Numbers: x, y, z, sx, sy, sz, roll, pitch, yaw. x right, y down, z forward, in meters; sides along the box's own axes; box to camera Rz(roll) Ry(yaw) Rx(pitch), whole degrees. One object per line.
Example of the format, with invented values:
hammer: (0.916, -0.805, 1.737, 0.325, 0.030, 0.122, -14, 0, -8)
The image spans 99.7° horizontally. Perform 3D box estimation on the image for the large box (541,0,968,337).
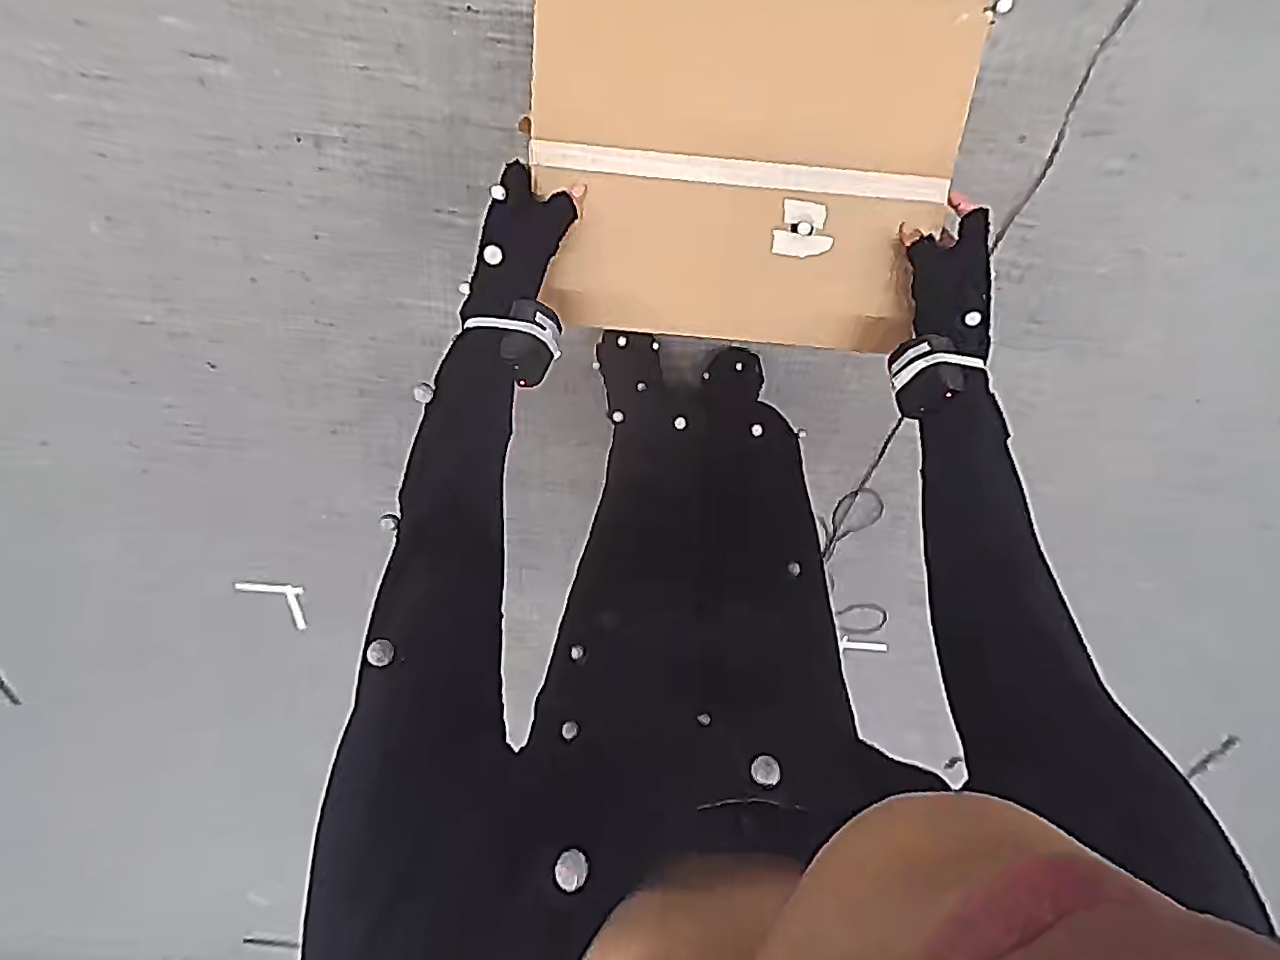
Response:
large box: (0.096, -0.366, 0.686, 0.408, 0.320, 0.320, 4, 111, -2)
